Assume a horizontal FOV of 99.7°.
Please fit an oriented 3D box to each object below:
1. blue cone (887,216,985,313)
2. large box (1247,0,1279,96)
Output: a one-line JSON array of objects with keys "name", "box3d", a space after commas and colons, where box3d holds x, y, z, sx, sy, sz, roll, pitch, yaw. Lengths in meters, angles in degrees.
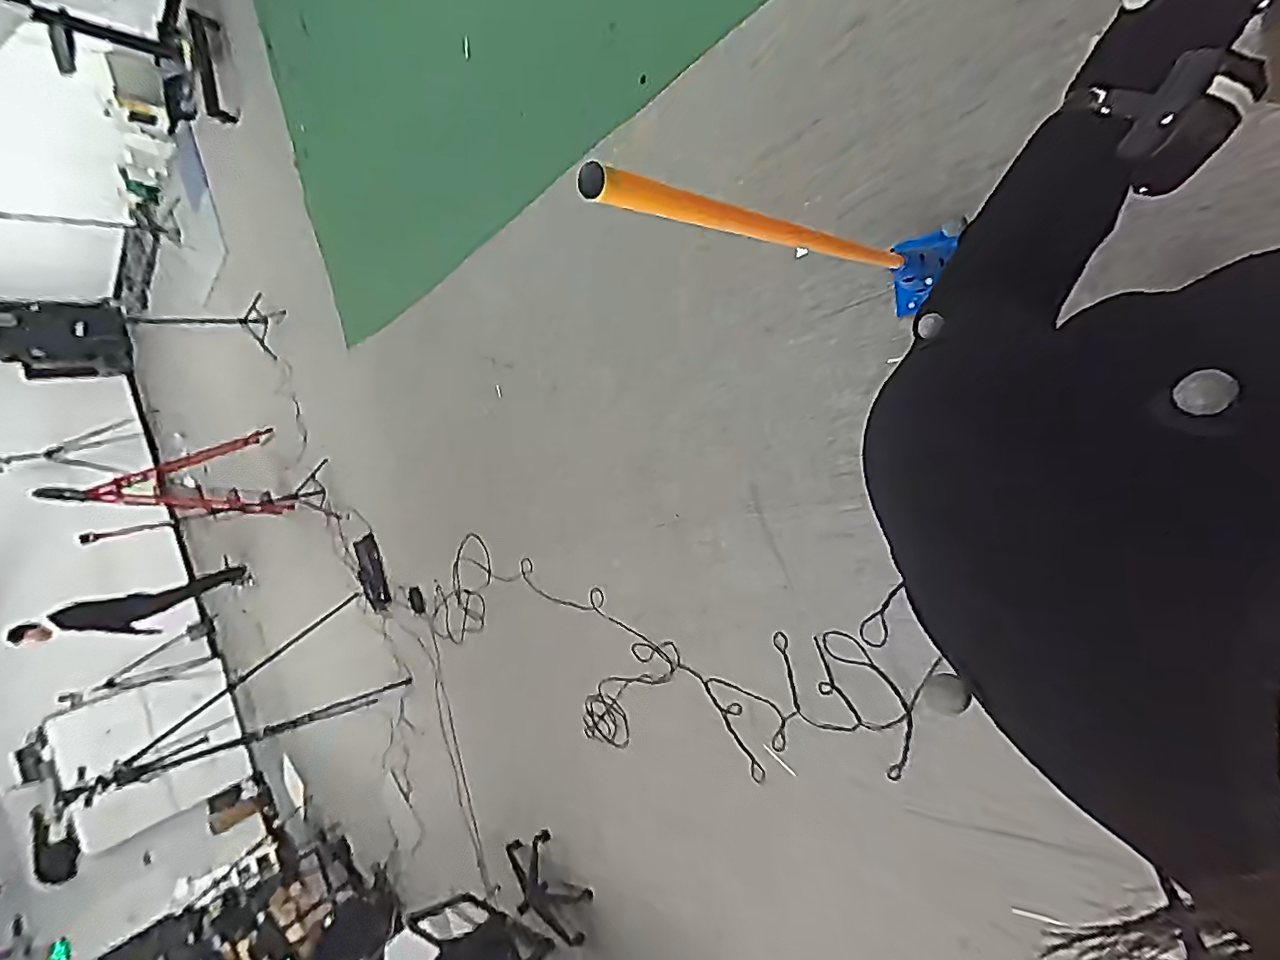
[{"name": "blue cone", "box3d": [0.604, -0.474, 1.163, 0.193, 0.380, 0.192, -1, 100, 40]}, {"name": "large box", "box3d": [0.618, -0.340, 0.215, 0.408, 0.320, 0.320, 38, 130, 30]}]
